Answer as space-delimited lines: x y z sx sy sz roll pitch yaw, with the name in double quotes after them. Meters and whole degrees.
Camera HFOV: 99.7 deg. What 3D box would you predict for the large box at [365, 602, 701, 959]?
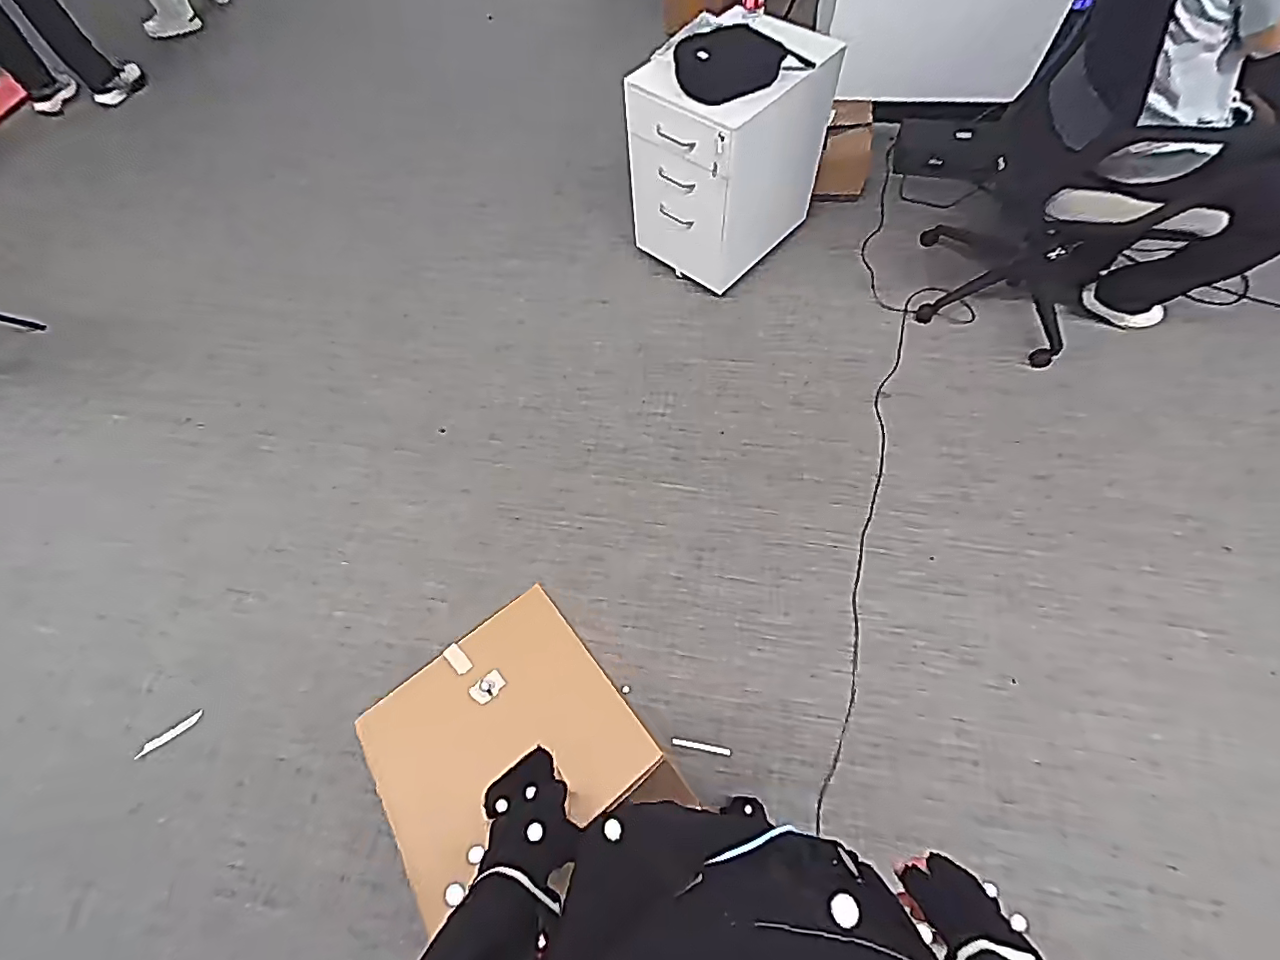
-0.138 0.460 0.847 0.320 0.408 0.320 -37 54 -14 "large box"
